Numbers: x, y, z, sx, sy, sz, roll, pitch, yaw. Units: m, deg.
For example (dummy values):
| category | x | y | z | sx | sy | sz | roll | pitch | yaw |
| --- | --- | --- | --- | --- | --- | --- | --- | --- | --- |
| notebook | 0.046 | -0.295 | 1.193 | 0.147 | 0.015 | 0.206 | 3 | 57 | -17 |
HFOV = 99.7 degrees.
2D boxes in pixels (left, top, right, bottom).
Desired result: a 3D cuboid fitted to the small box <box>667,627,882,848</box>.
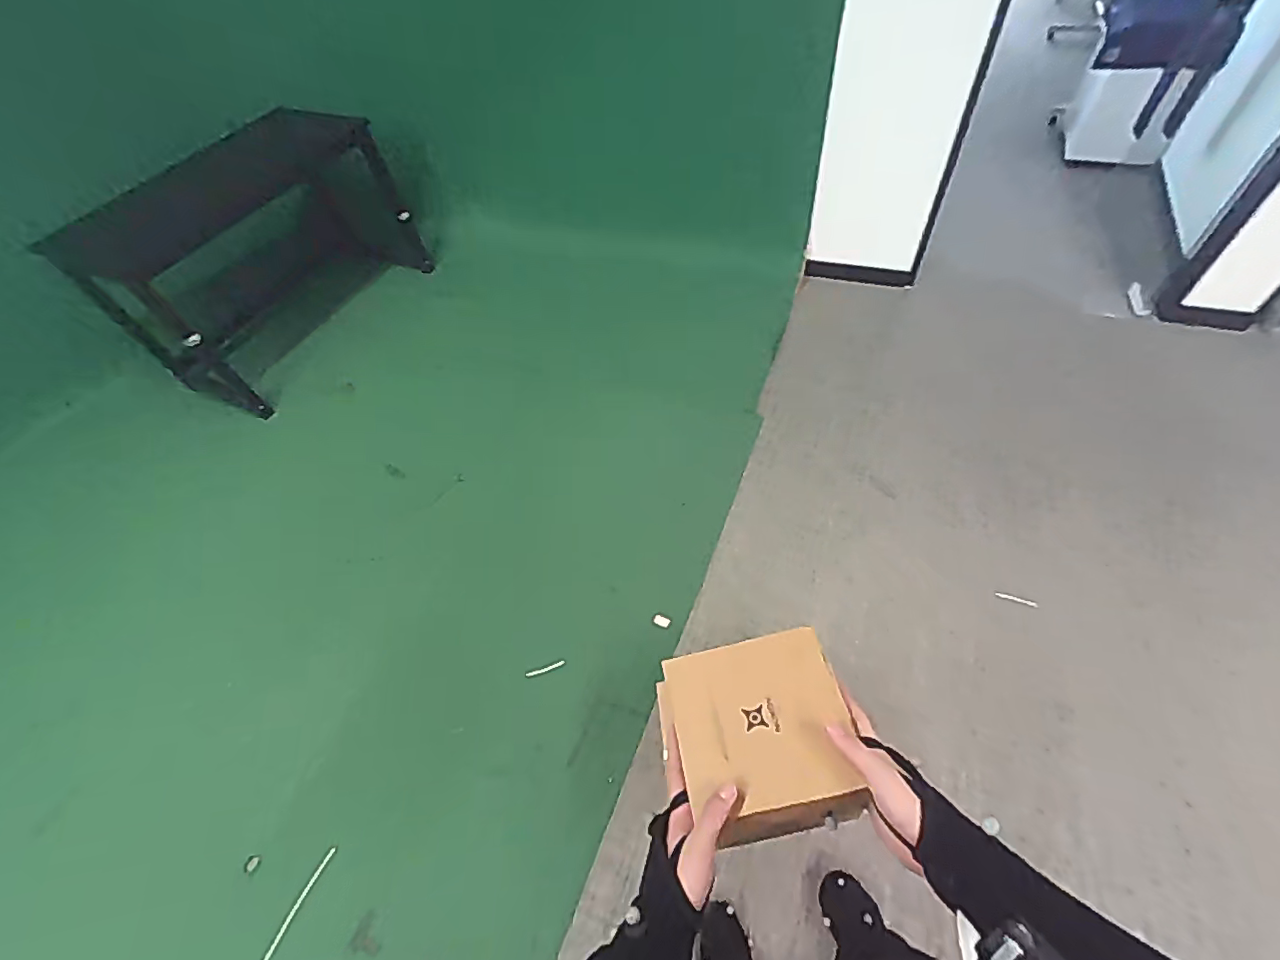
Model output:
| category | x | y | z | sx | sy | sz | roll | pitch | yaw |
| --- | --- | --- | --- | --- | --- | --- | --- | --- | --- |
| small box | 0.140 | 0.291 | 0.603 | 0.179 | 0.176 | 0.168 | -15 | 48 | 3 |
